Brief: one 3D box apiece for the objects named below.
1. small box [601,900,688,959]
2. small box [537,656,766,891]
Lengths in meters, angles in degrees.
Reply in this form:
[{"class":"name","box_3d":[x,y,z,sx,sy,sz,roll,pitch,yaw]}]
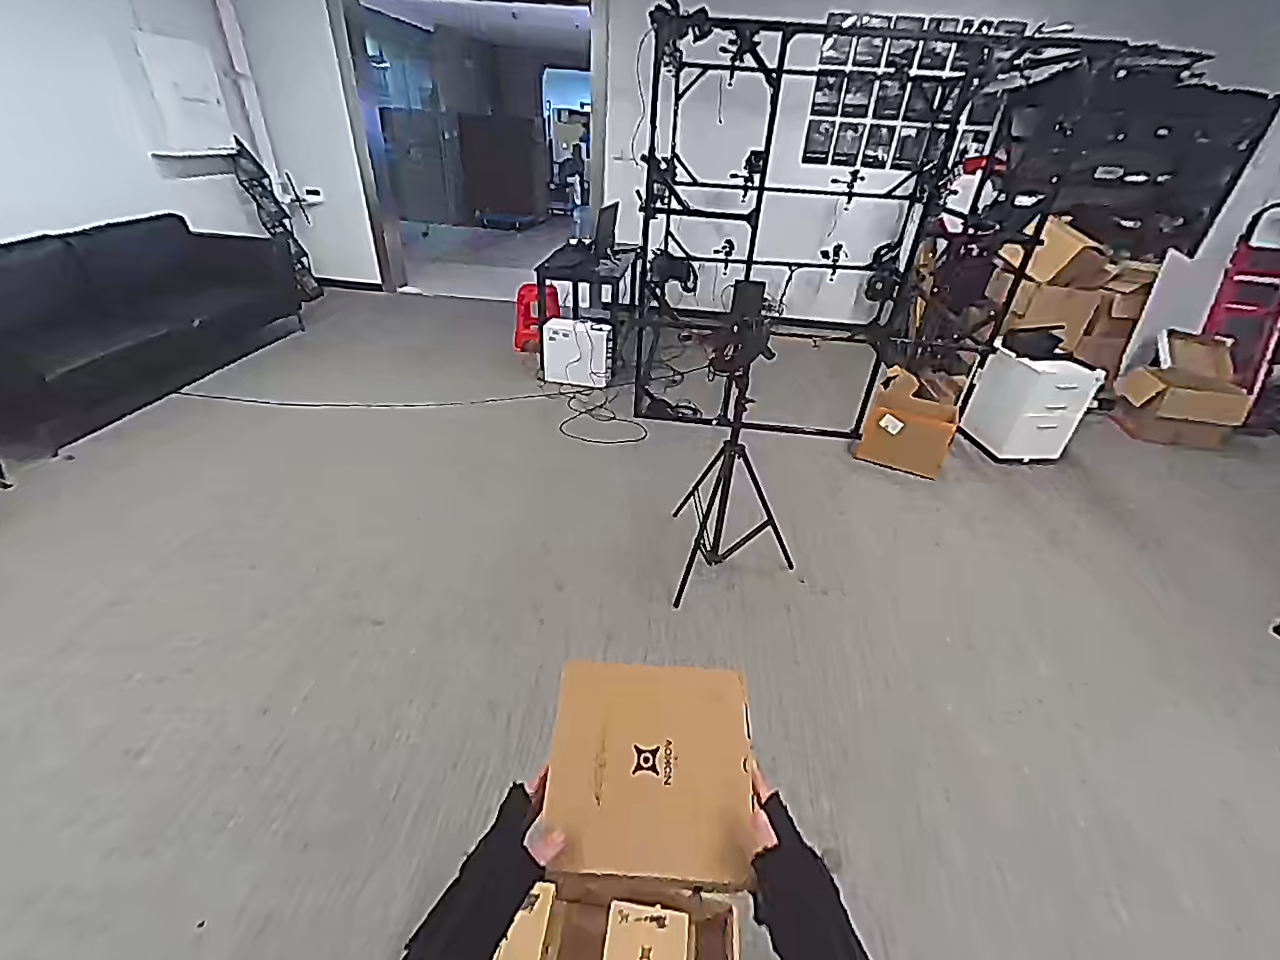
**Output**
[{"class":"small box","box_3d":[0.007,1.005,1.101,0.168,0.176,0.179,5,34,7]},{"class":"small box","box_3d":[0.012,0.283,0.517,0.179,0.176,0.168,2,50,2]}]
